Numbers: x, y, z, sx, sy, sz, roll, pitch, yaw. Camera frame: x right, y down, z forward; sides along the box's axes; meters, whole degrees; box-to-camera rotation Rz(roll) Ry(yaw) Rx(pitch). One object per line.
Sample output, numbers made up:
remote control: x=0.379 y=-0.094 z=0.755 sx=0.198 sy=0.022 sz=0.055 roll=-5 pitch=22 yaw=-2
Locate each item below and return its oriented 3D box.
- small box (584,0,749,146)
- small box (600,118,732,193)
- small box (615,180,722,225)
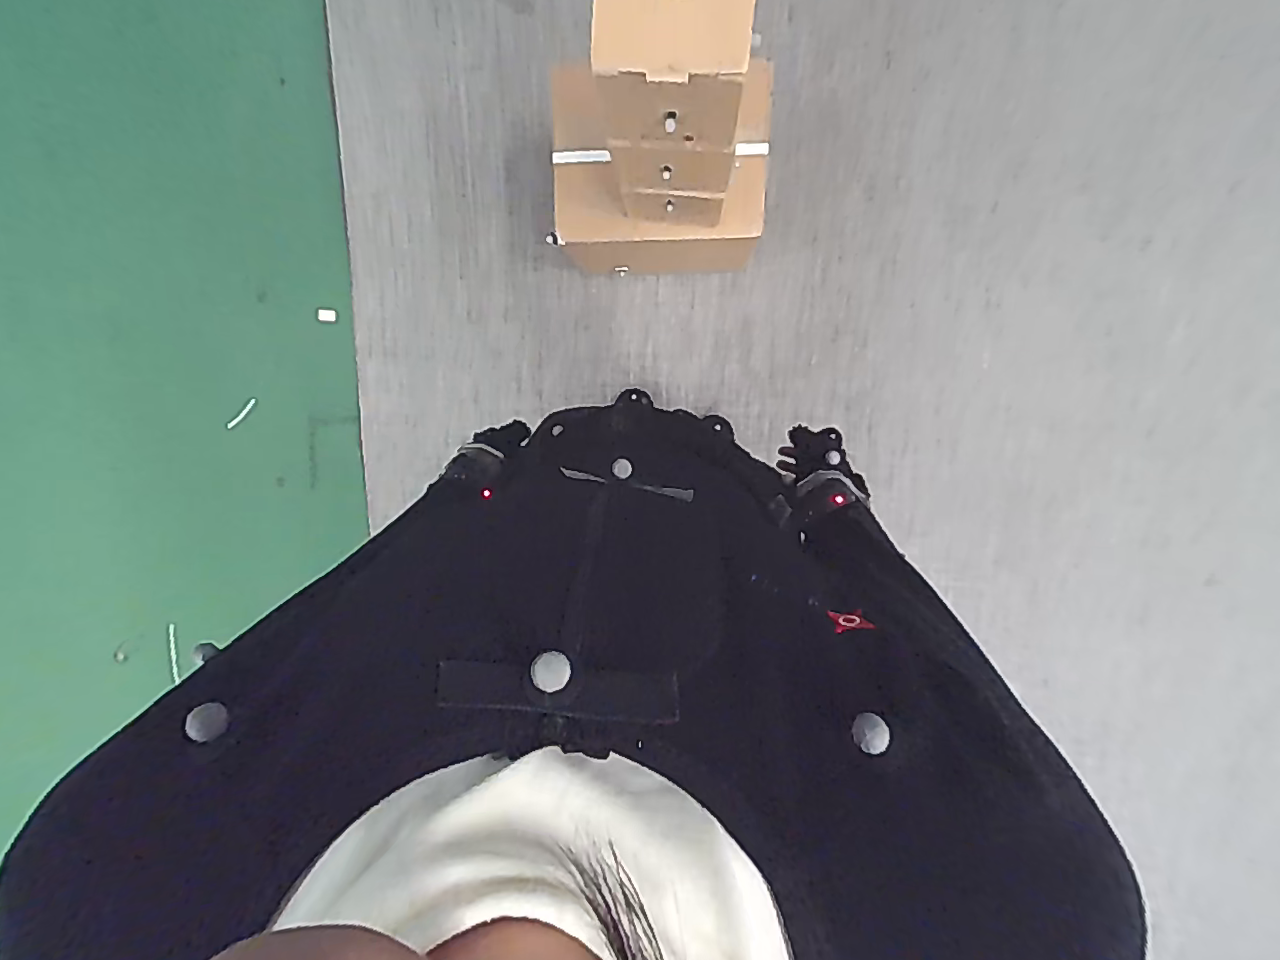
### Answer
small box: x=0.037 y=-0.513 z=0.626 sx=0.168 sy=0.176 sz=0.179 roll=6 pitch=102 yaw=4
small box: x=0.047 y=-0.535 z=0.788 sx=0.179 sy=0.176 sz=0.168 roll=6 pitch=101 yaw=6
small box: x=0.058 y=-0.560 z=0.949 sx=0.179 sy=0.176 sz=0.168 roll=6 pitch=102 yaw=2
